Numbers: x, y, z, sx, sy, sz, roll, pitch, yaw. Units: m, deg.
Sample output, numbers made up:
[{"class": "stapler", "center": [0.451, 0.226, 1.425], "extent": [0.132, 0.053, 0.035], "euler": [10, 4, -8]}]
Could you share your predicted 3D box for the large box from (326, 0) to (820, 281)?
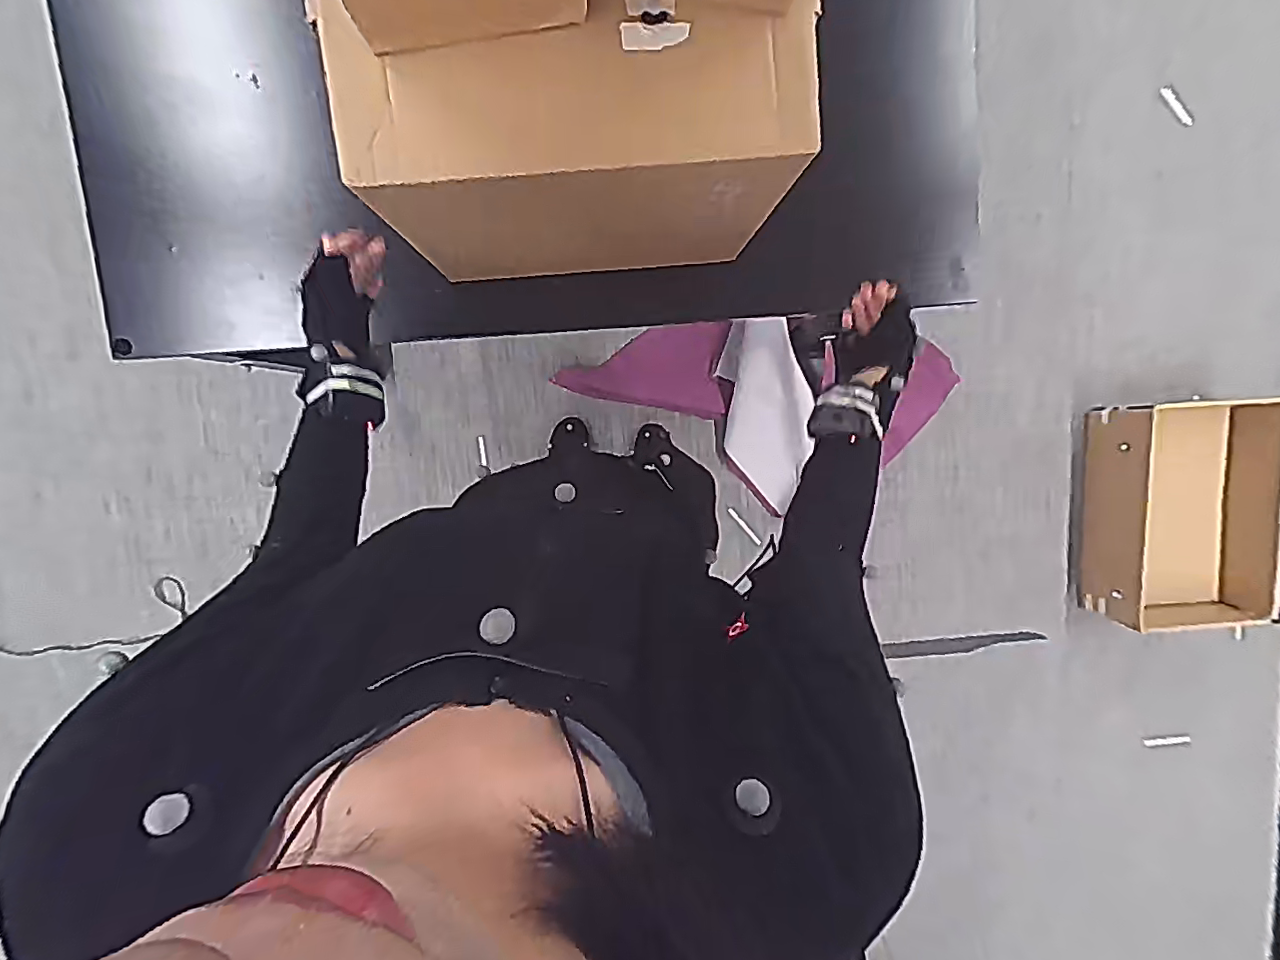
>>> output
[{"class": "large box", "center": [-0.070, -0.431, 0.590], "extent": [0.408, 0.320, 0.320], "euler": [-7, 97, -4]}]
